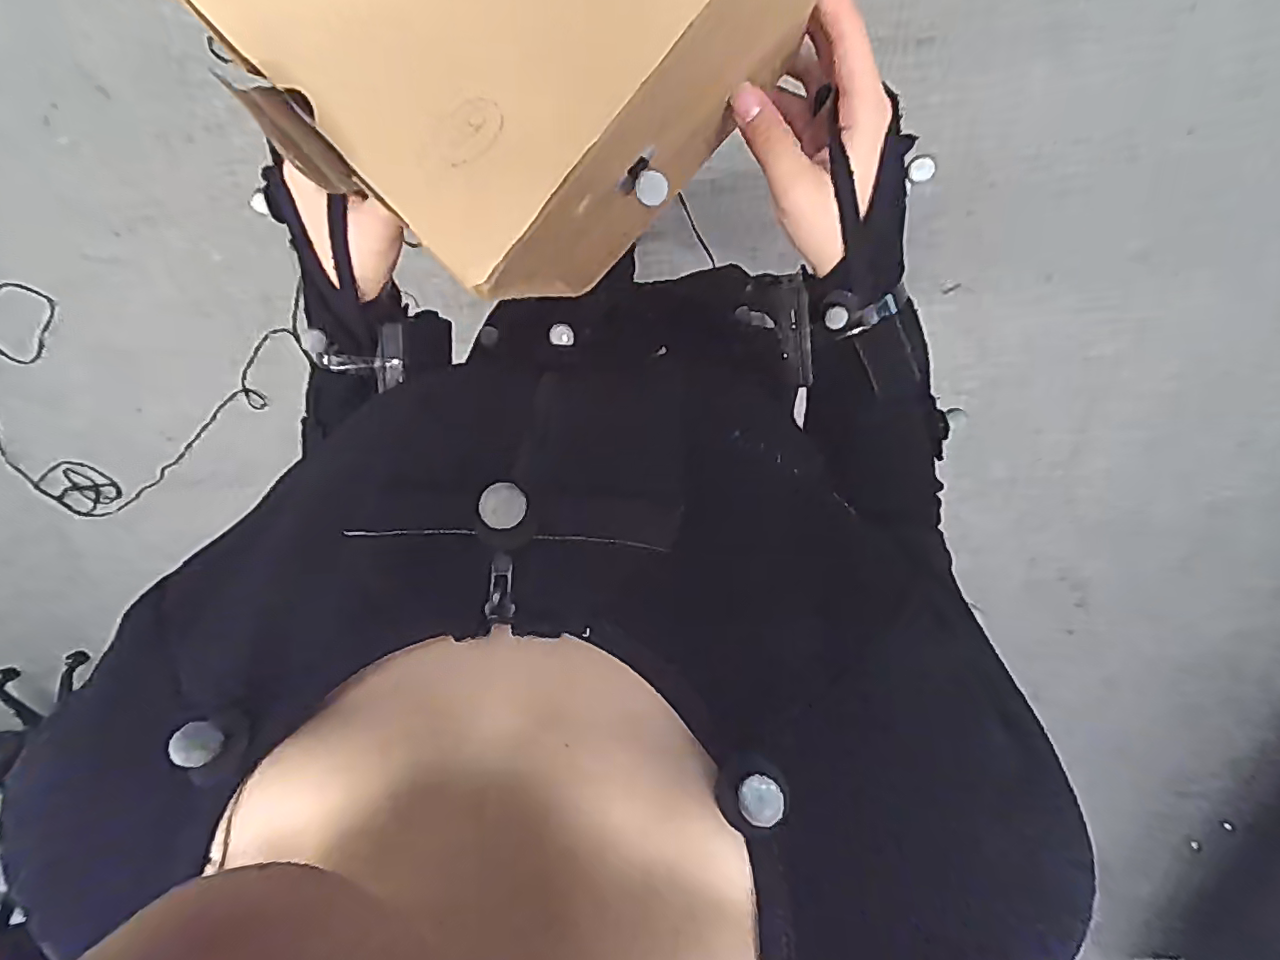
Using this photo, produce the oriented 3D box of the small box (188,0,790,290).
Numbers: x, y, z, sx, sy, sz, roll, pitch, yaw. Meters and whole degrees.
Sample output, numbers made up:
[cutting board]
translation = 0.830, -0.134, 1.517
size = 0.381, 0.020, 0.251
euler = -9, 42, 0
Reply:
[small box]
translation = -0.044, -0.207, 0.245
size = 0.168, 0.176, 0.179
euler = 45, 109, -8
